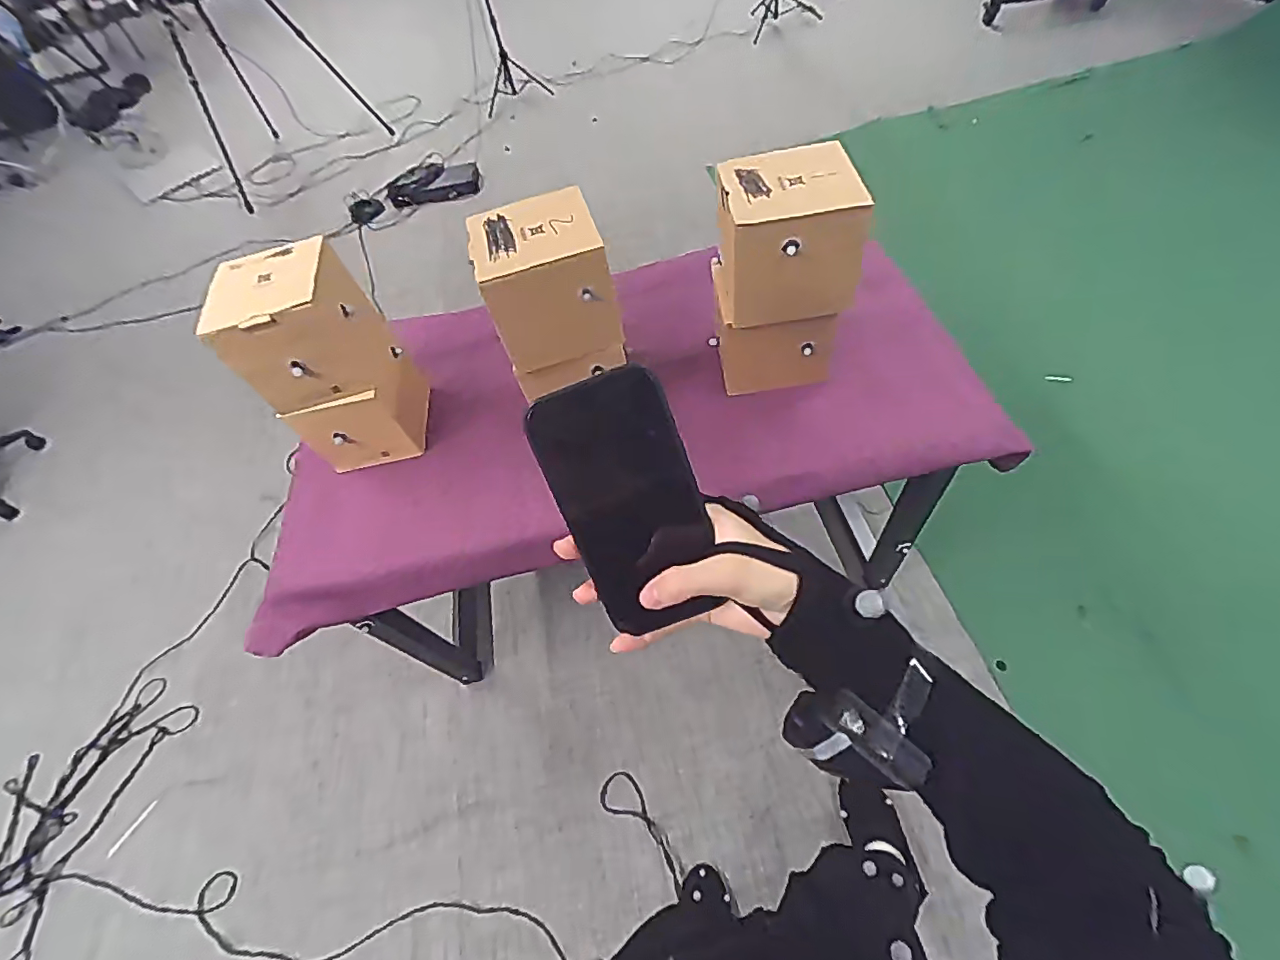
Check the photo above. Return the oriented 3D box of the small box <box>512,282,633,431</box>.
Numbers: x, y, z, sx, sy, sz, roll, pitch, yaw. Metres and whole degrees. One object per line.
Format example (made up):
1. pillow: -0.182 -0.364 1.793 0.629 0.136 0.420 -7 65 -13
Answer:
1. small box: -0.113 -0.211 0.947 0.179 0.176 0.168 -13 56 2

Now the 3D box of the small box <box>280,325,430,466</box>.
1. small box: -0.497 -0.142 0.973 0.168 0.176 0.179 -12 56 2

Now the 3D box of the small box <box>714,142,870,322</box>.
1. small box: 0.208 -0.351 0.785 0.179 0.176 0.168 -7 56 5

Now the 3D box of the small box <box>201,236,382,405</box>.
1. small box: -0.523 -0.238 0.841 0.168 0.176 0.179 -16 56 -1

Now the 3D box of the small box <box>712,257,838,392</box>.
1. small box: 0.222 -0.272 0.929 0.179 0.176 0.168 -8 56 6
